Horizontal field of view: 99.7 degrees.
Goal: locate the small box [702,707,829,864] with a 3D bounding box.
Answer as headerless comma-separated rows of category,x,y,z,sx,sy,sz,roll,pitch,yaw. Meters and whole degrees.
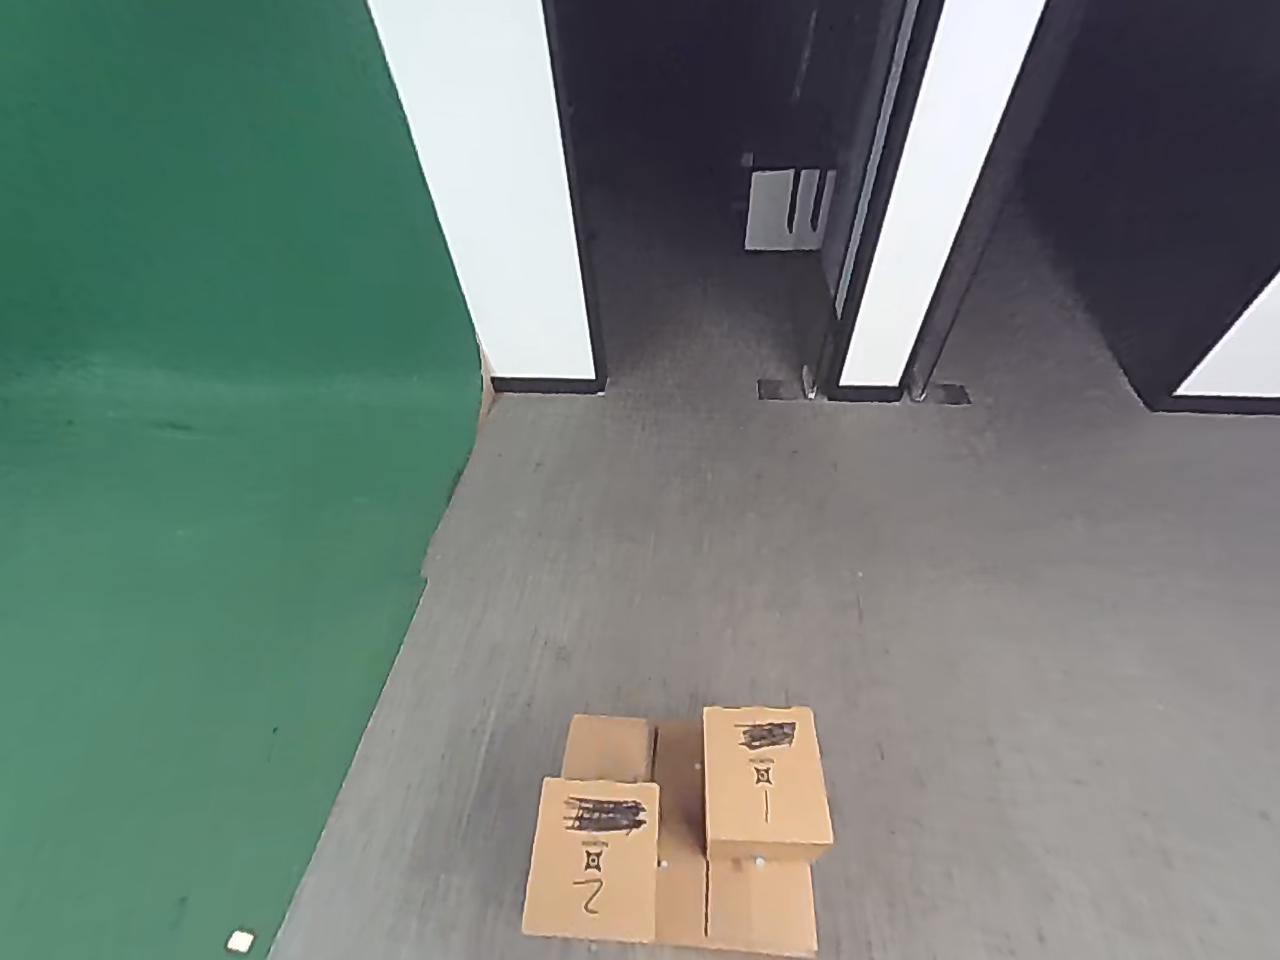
small box,0.179,0.468,0.828,0.168,0.176,0.179,-1,50,6
